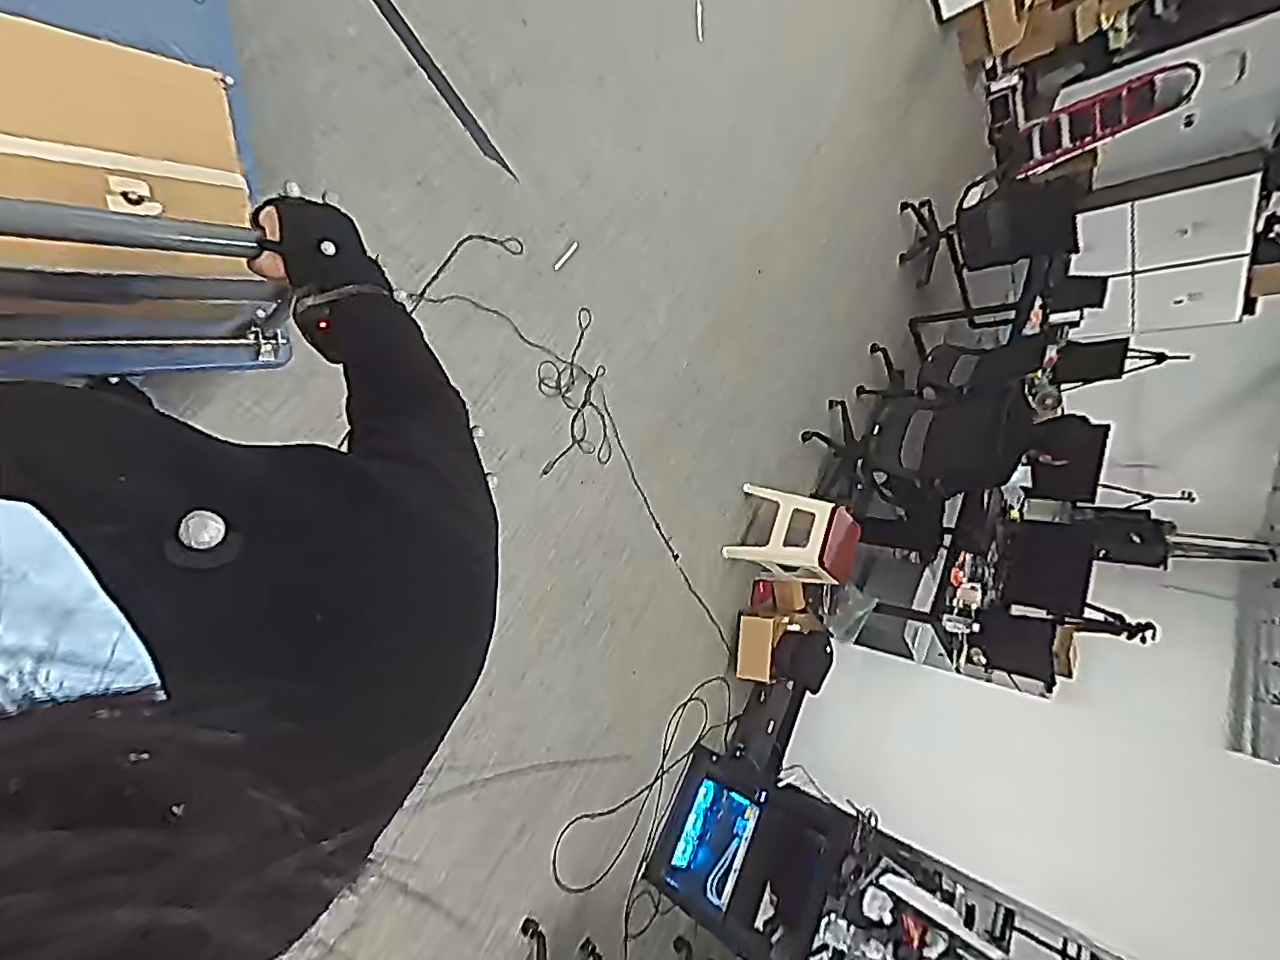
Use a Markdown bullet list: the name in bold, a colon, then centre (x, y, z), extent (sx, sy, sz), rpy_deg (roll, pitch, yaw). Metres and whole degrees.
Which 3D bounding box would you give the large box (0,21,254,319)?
- **large box**: centre (-0.871, -0.422, 0.798), extent (0.408, 0.320, 0.320), rpy_deg (-14, 104, -44)
